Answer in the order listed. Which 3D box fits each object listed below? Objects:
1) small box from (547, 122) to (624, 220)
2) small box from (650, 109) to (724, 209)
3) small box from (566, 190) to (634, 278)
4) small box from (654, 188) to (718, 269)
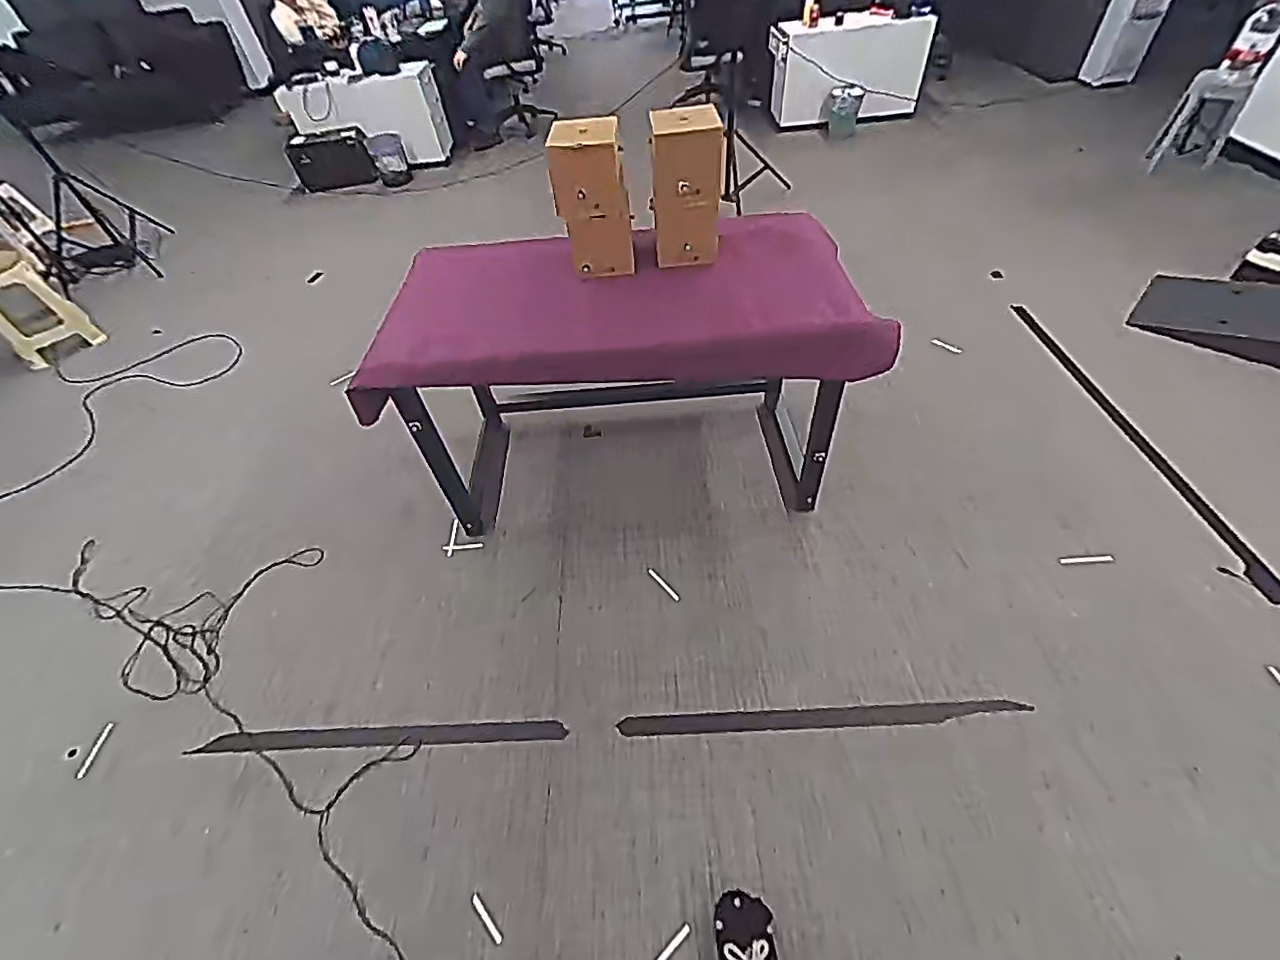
[{"bbox_3d":[-0.132,-0.785,1.379,0.168,0.176,0.179,-2,50,4],"label":"small box"},{"bbox_3d":[0.117,-0.818,1.381,0.168,0.176,0.179,-7,50,1],"label":"small box"},{"bbox_3d":[-0.105,-0.676,1.497,0.168,0.176,0.179,-4,49,2],"label":"small box"},{"bbox_3d":[0.124,-0.708,1.501,0.168,0.176,0.179,-4,50,3],"label":"small box"}]
